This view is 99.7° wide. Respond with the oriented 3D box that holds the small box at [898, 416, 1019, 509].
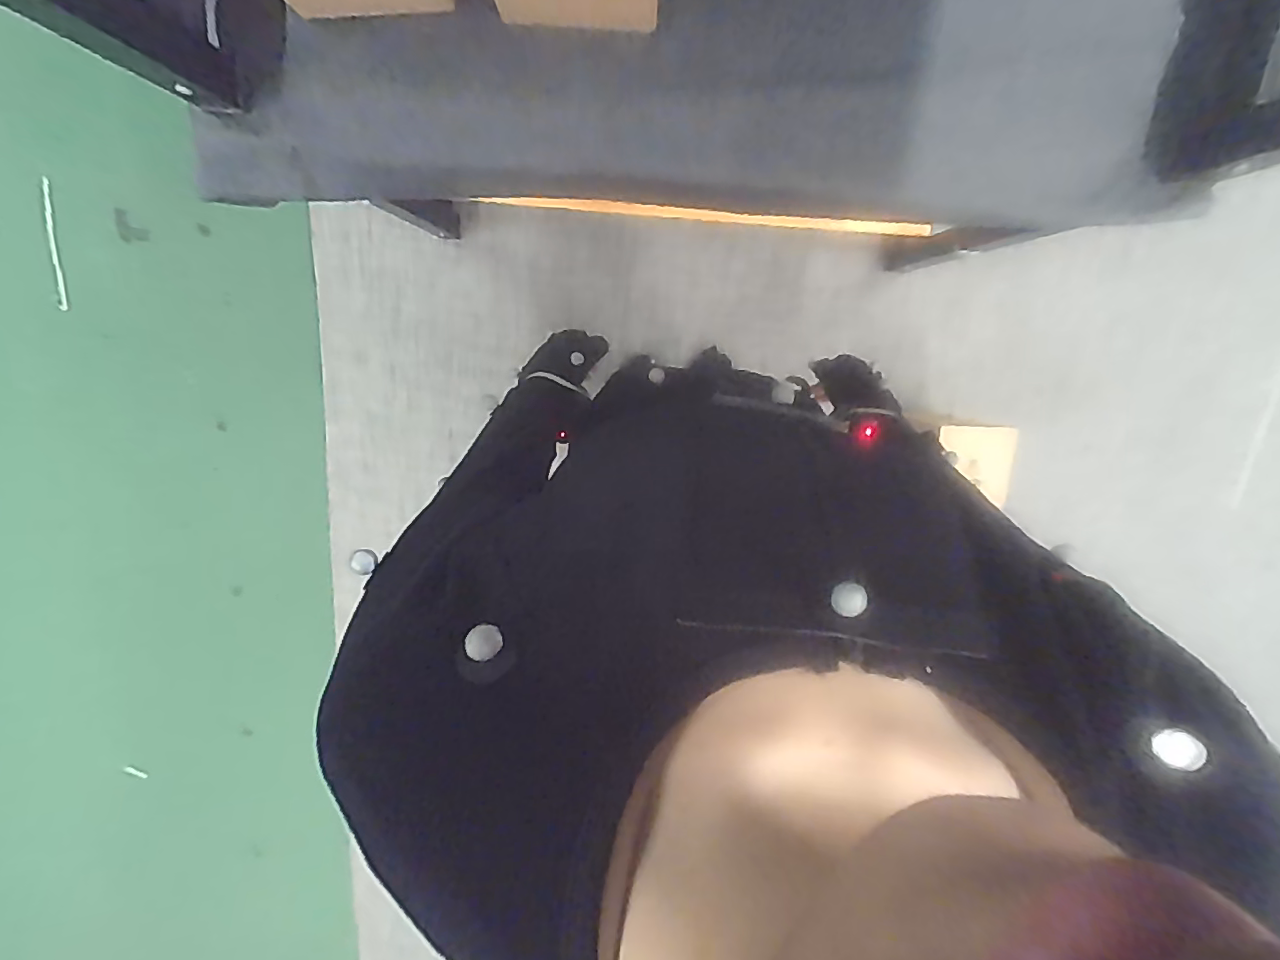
[{"bbox_3d":[0.702,-0.043,1.216,0.168,0.176,0.179,2,103,1],"label":"small box"}]
